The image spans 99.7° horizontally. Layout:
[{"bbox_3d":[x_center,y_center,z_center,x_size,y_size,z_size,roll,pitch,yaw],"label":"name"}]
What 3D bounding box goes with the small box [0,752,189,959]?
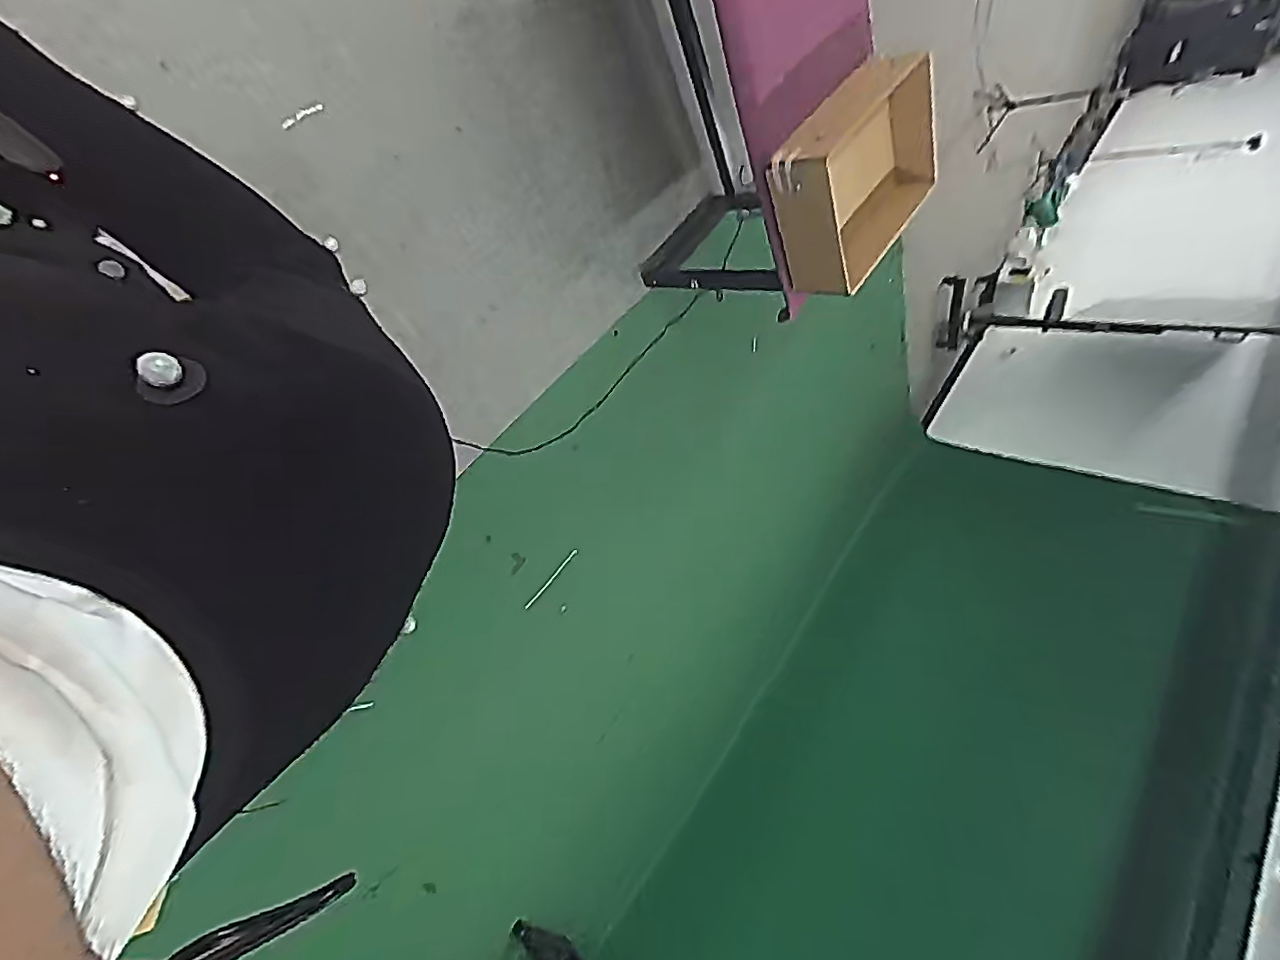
[{"bbox_3d":[-0.803,0.530,0.789,0.179,0.176,0.168,20,91,-48],"label":"small box"}]
